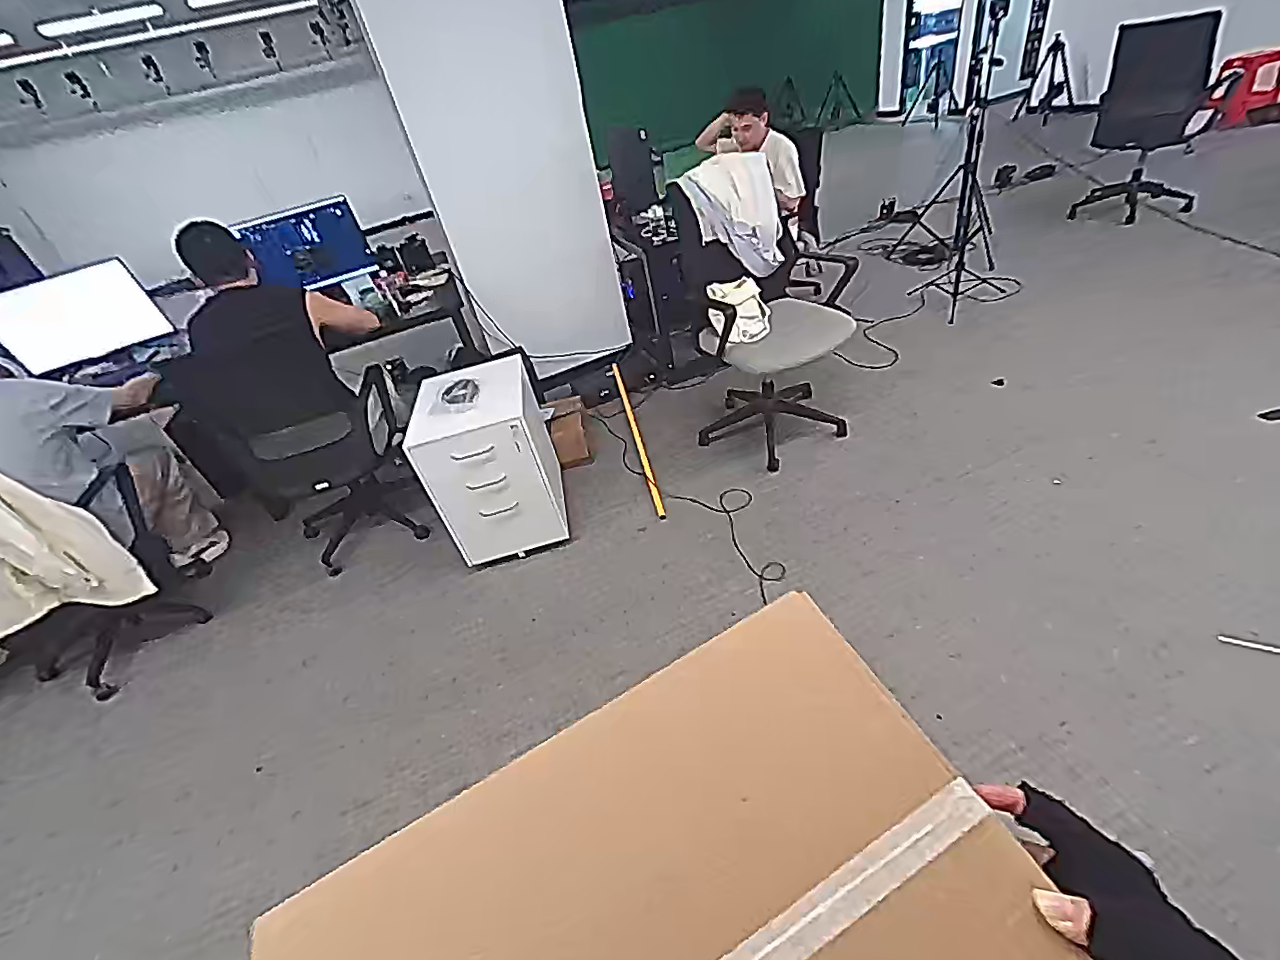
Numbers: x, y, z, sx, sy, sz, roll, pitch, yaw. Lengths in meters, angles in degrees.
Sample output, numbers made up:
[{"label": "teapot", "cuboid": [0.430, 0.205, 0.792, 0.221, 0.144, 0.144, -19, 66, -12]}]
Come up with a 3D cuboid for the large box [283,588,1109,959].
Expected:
[{"label": "large box", "cuboid": [0.042, 0.359, 0.405, 0.408, 0.320, 0.320, -28, 52, -11]}]
